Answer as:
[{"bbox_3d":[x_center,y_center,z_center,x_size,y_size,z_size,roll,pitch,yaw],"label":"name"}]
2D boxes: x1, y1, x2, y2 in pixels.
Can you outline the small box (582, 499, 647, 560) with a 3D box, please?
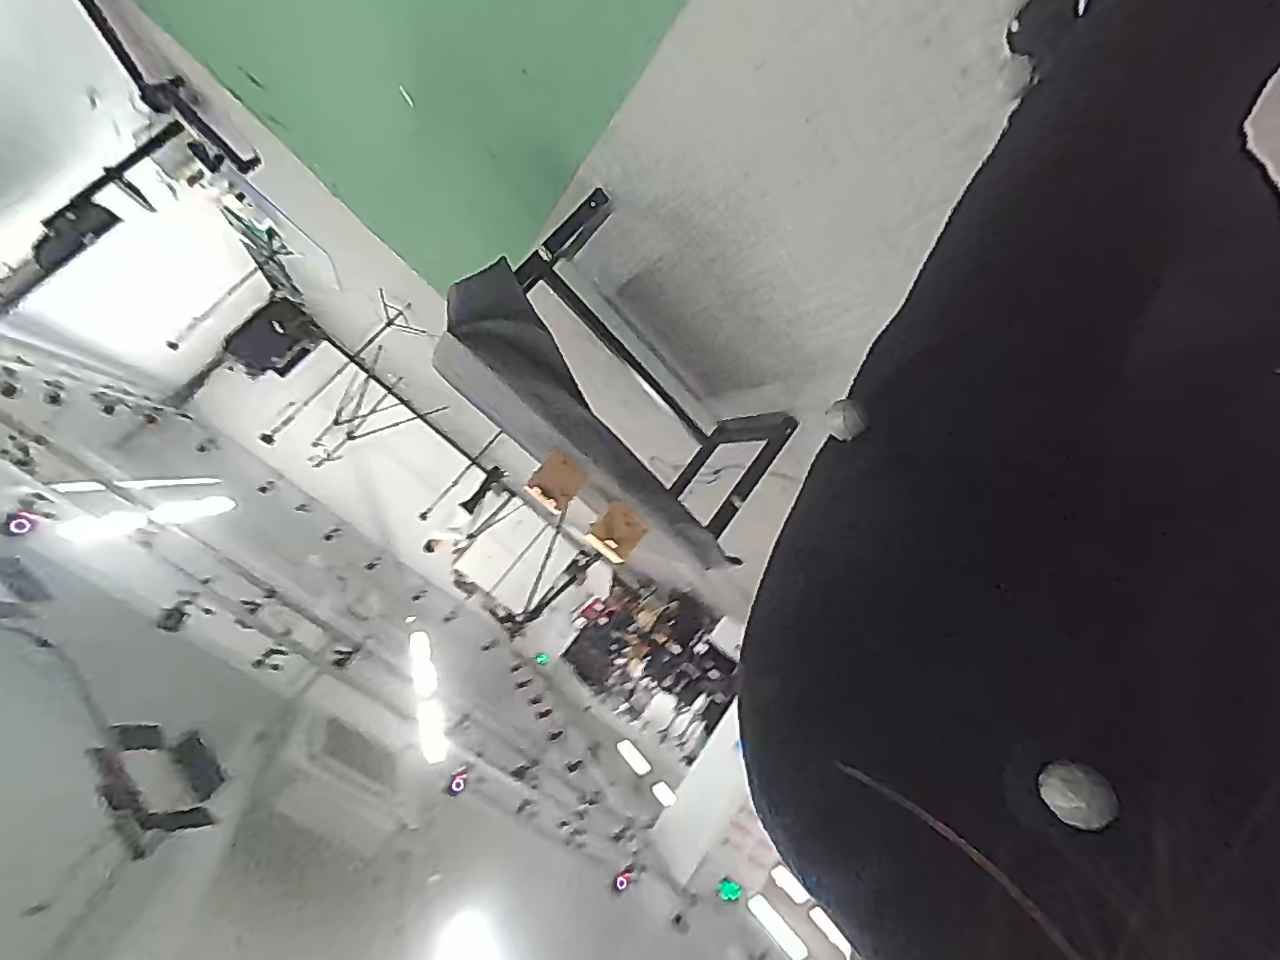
[{"bbox_3d":[-0.096,0.190,2.064,0.168,0.176,0.179,40,164,-5],"label":"small box"}]
